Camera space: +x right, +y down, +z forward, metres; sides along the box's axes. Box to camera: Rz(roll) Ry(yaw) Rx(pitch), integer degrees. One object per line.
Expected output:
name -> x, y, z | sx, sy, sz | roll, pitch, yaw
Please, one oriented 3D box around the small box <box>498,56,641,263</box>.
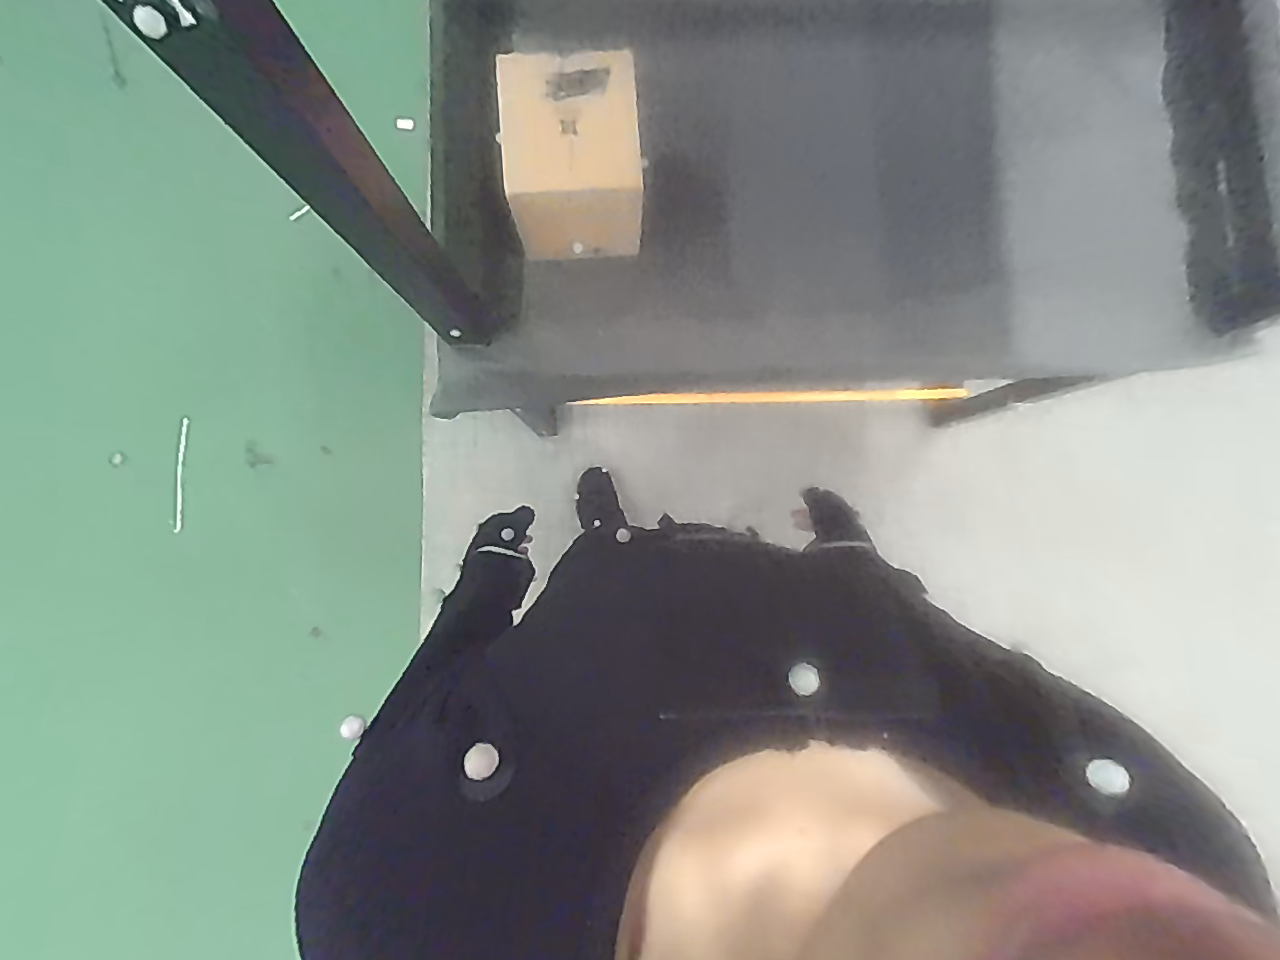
small box -> -0.088, -0.415, 0.721 | 0.168, 0.176, 0.179 | -4, 86, -1
